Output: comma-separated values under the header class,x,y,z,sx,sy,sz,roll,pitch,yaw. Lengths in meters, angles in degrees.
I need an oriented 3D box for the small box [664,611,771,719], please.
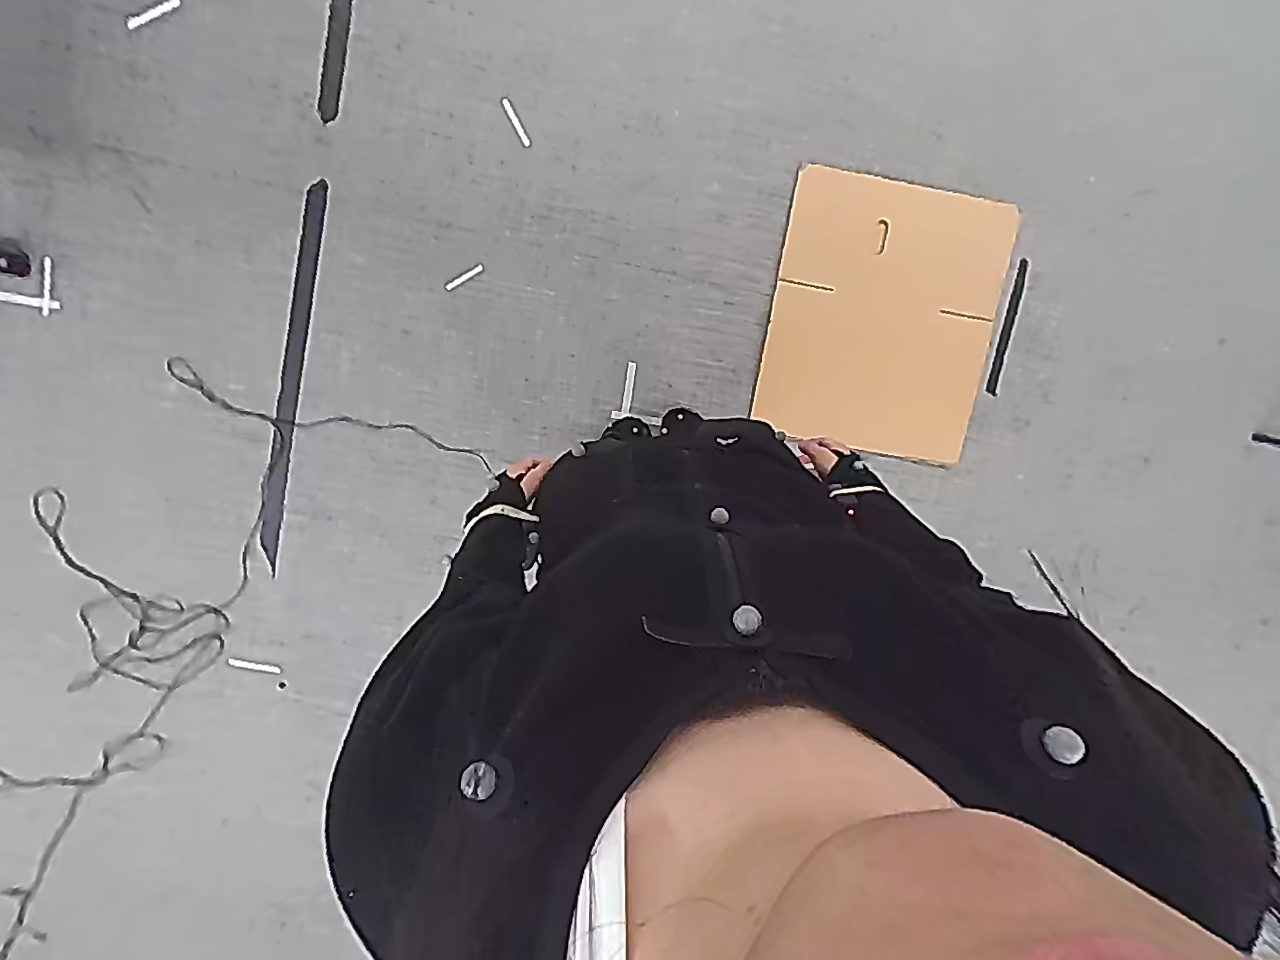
class,x,y,z,sx,sy,sz,roll,pitch,yaw
small box,0.165,0.410,1.165,0.179,0.176,0.168,-29,98,3
